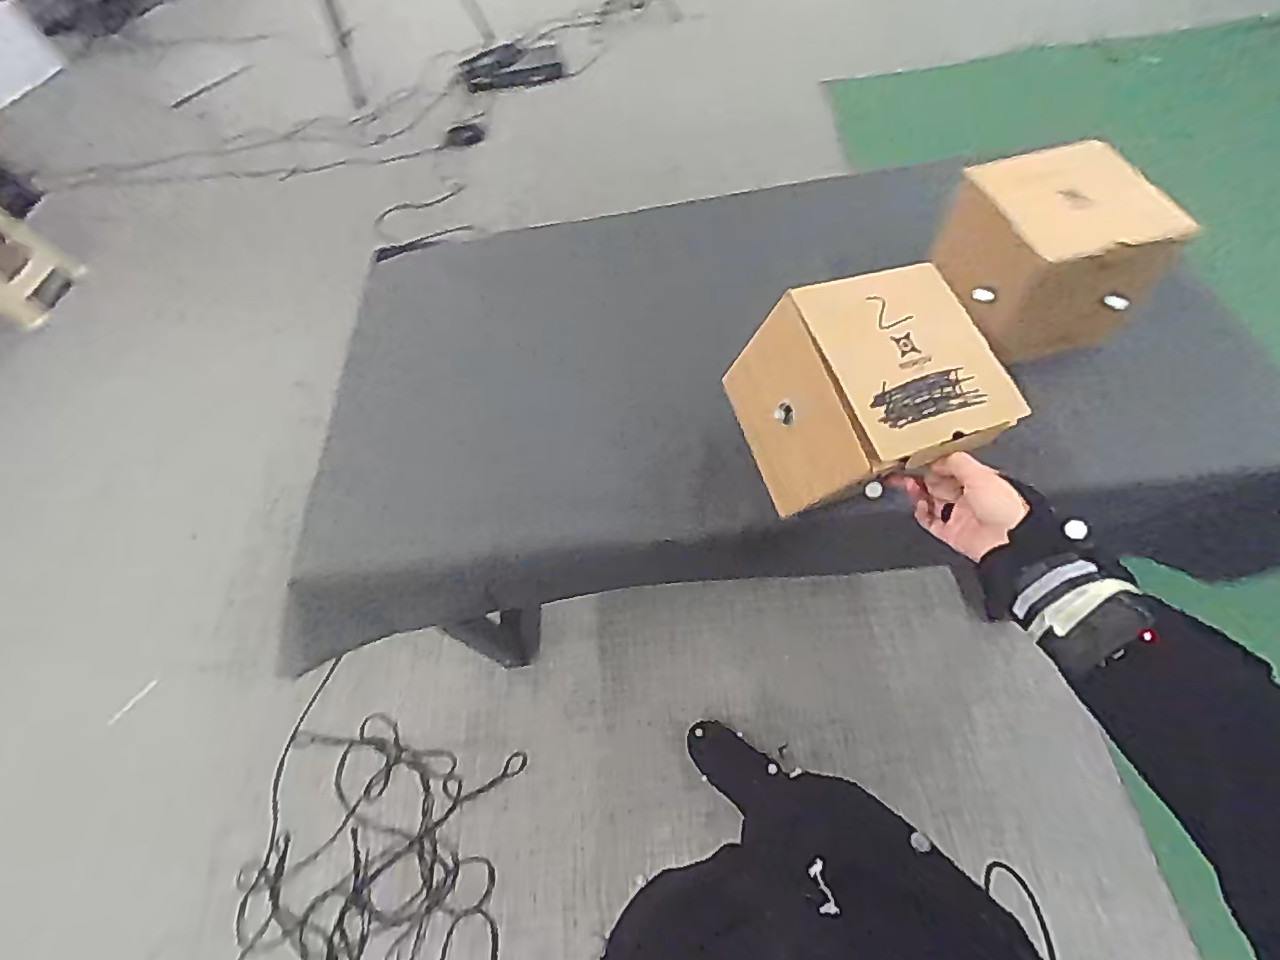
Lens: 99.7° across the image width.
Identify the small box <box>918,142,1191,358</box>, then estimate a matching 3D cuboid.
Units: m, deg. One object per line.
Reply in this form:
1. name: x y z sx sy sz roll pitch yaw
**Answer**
1. small box: 0.480 -0.270 0.663 0.168 0.176 0.179 -13 58 -1
